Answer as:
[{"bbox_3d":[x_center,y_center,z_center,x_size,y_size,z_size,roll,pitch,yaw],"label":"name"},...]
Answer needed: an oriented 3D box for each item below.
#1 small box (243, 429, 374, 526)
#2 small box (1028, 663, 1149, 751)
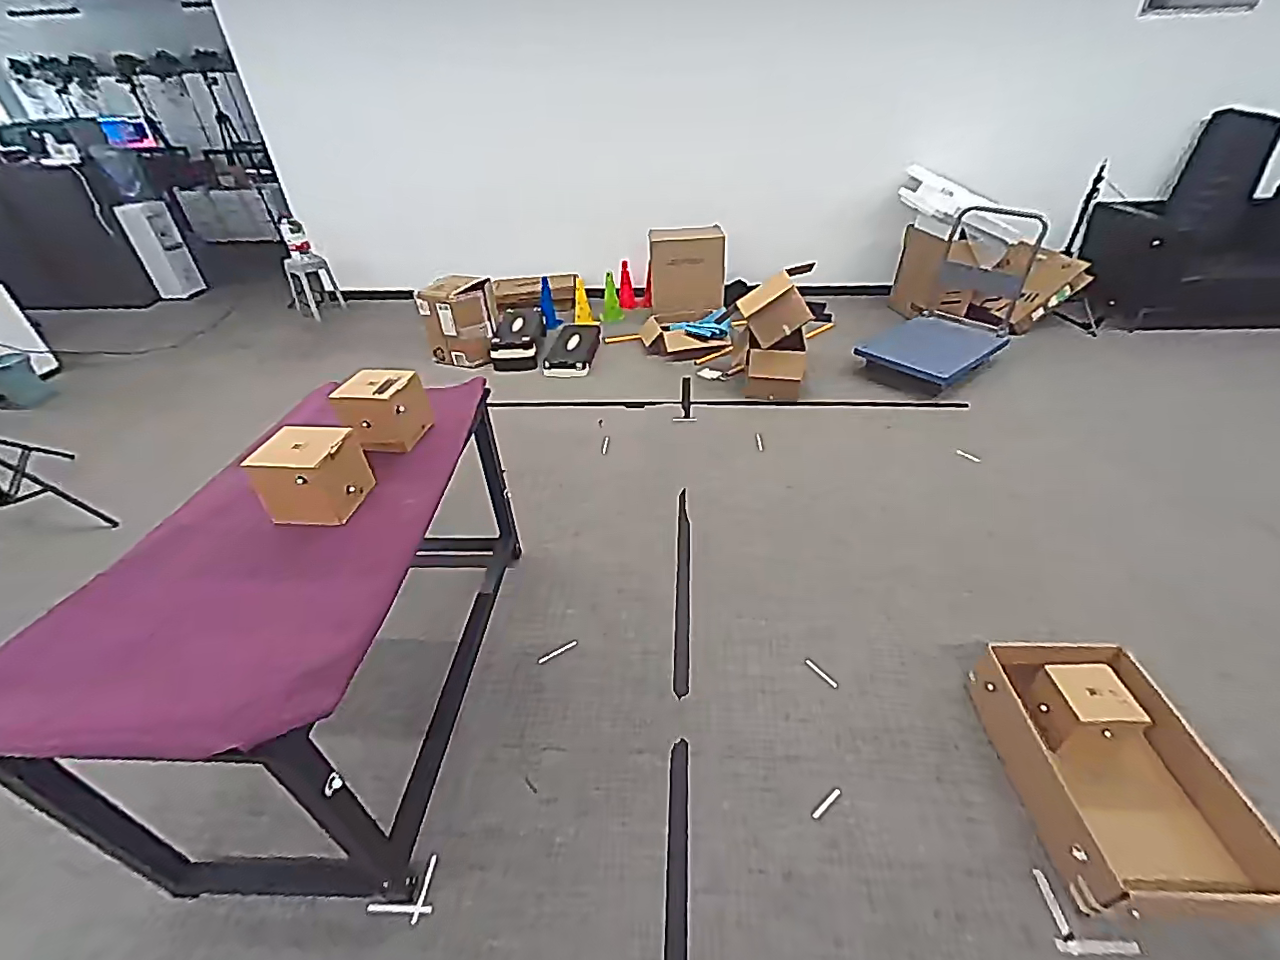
[{"bbox_3d":[-0.765,-0.007,1.269,0.179,0.176,0.168,1,37,5],"label":"small box"},{"bbox_3d":[1.201,0.619,1.471,0.179,0.176,0.168,-1,38,1],"label":"small box"}]
